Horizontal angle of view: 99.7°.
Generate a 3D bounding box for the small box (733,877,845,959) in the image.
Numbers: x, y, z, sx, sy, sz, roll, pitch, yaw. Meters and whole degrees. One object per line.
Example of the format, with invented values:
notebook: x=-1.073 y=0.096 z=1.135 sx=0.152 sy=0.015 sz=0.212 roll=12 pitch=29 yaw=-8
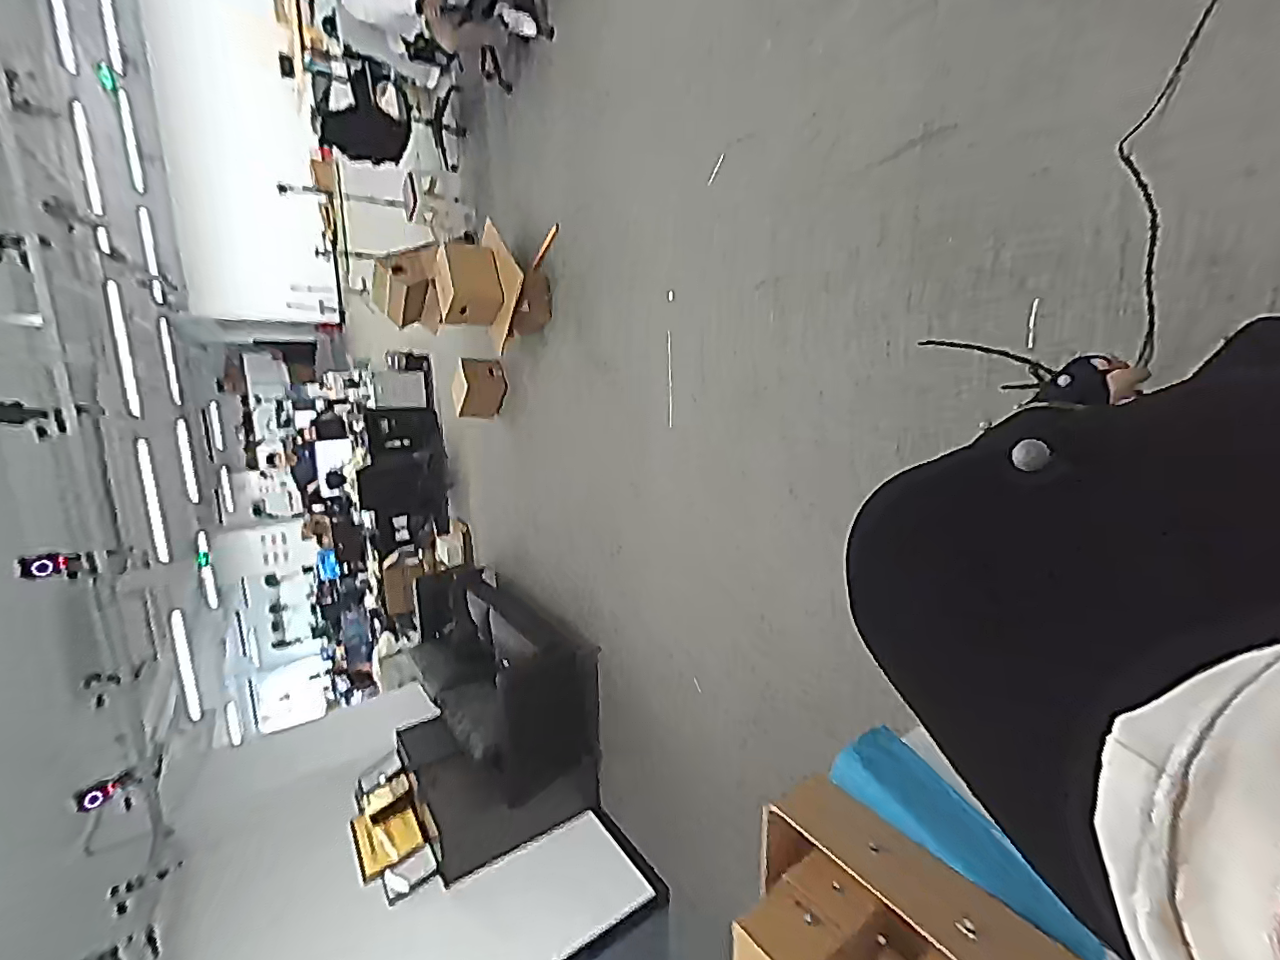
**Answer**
small box: x=0.317 y=1.014 z=1.153 sx=0.168 sy=0.176 sz=0.179 roll=14 pitch=110 yaw=52
